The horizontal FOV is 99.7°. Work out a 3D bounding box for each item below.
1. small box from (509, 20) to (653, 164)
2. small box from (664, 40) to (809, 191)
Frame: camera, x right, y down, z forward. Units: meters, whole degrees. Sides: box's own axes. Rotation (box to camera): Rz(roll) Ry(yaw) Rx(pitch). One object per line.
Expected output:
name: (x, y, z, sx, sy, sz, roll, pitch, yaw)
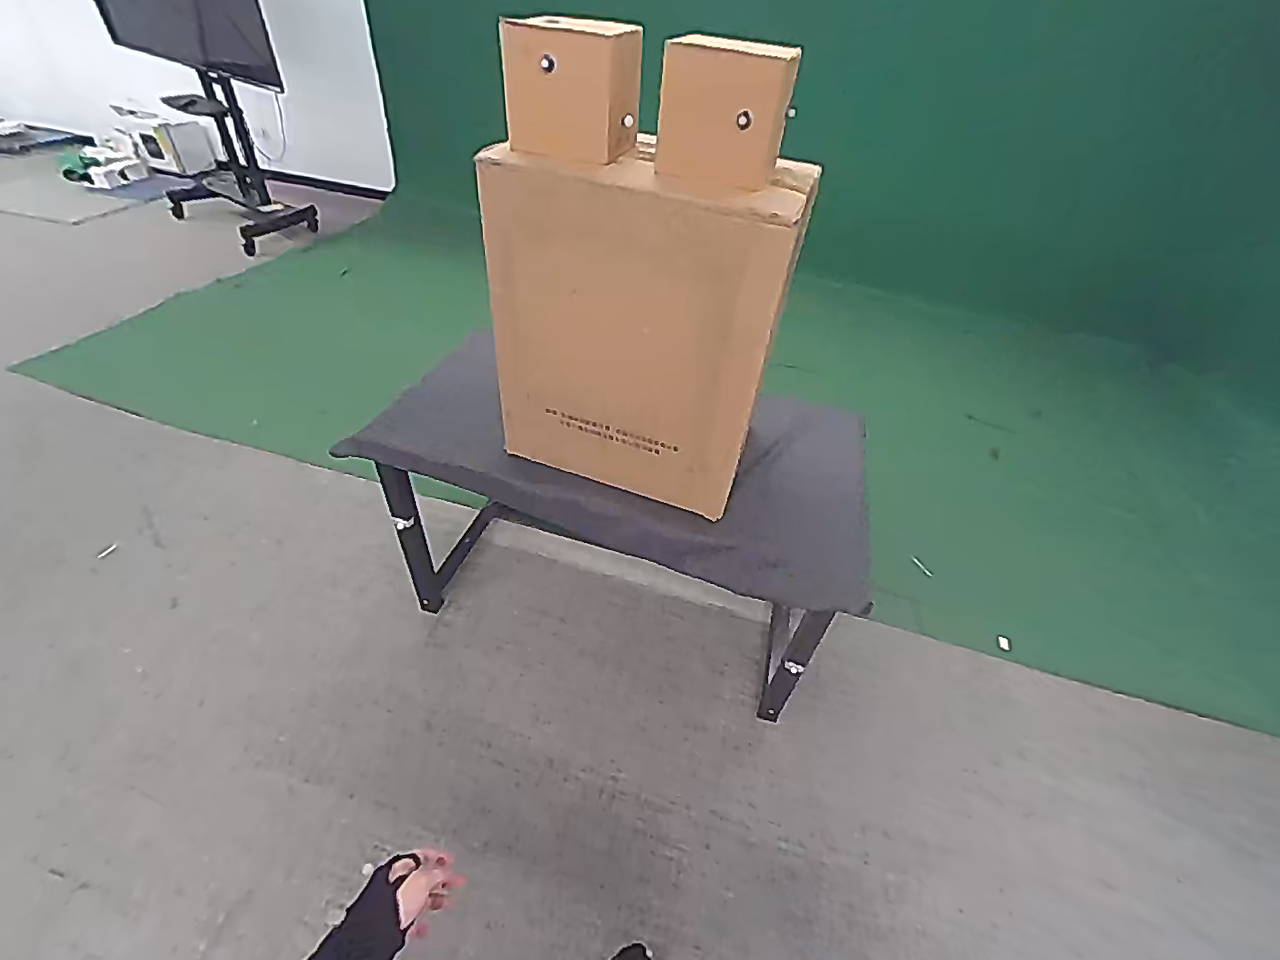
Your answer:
small box: (-0.092, -0.643, 0.897, 0.179, 0.176, 0.168, 17, 47, 13)
small box: (0.148, -0.575, 0.856, 0.179, 0.176, 0.168, 17, 44, 12)
